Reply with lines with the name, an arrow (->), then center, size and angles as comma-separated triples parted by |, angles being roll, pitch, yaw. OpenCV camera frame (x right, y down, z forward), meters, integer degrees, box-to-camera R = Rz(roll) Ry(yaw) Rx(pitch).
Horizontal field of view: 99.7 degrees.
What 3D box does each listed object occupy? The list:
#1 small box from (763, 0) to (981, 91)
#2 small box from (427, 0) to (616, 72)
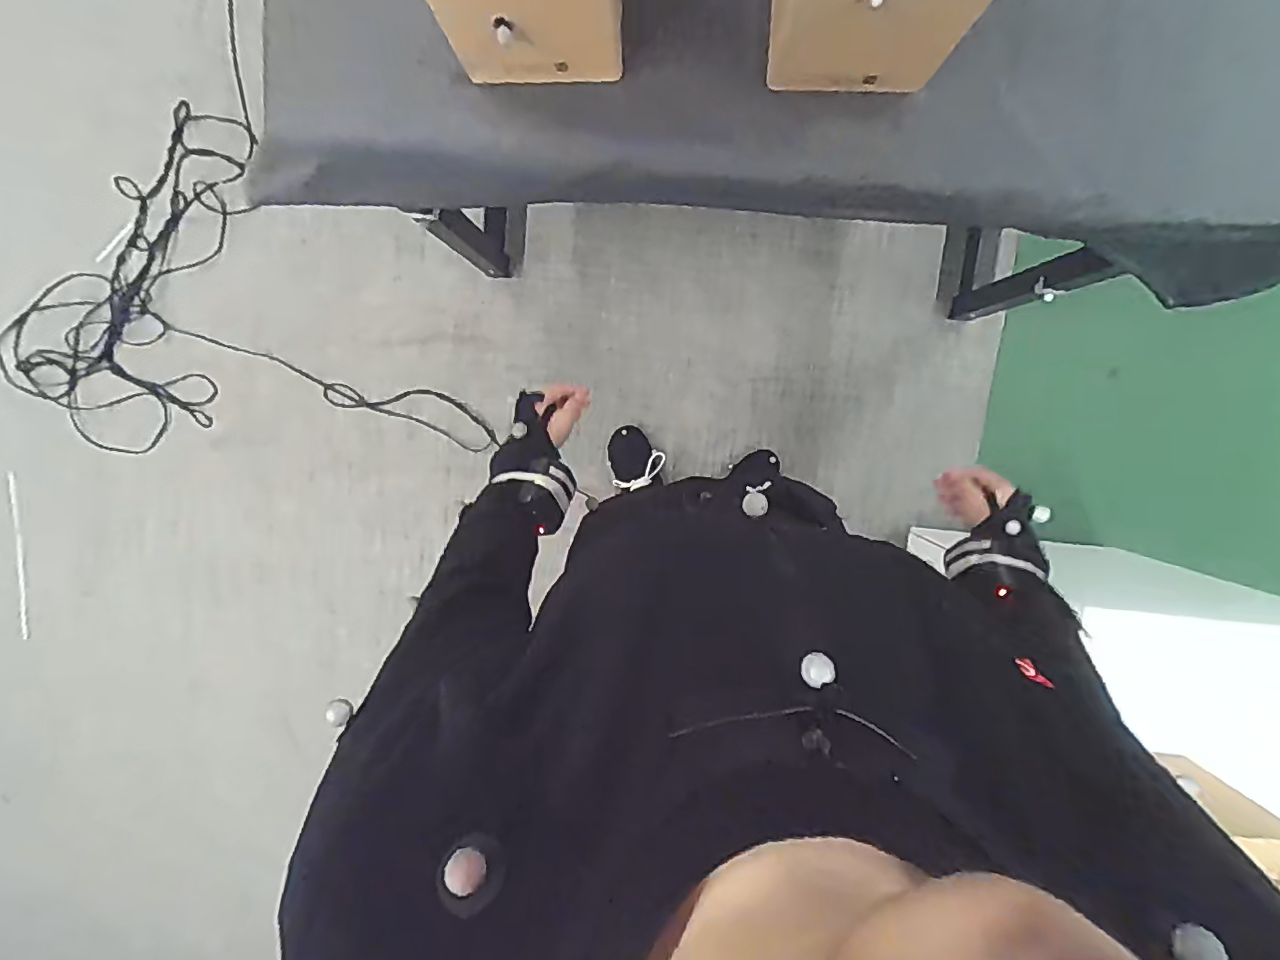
small box -> 0.213, -0.500, 0.491 | 0.168, 0.176, 0.179 | 2, 97, 1
small box -> -0.110, -0.514, 0.498 | 0.168, 0.176, 0.179 | 1, 97, 1
